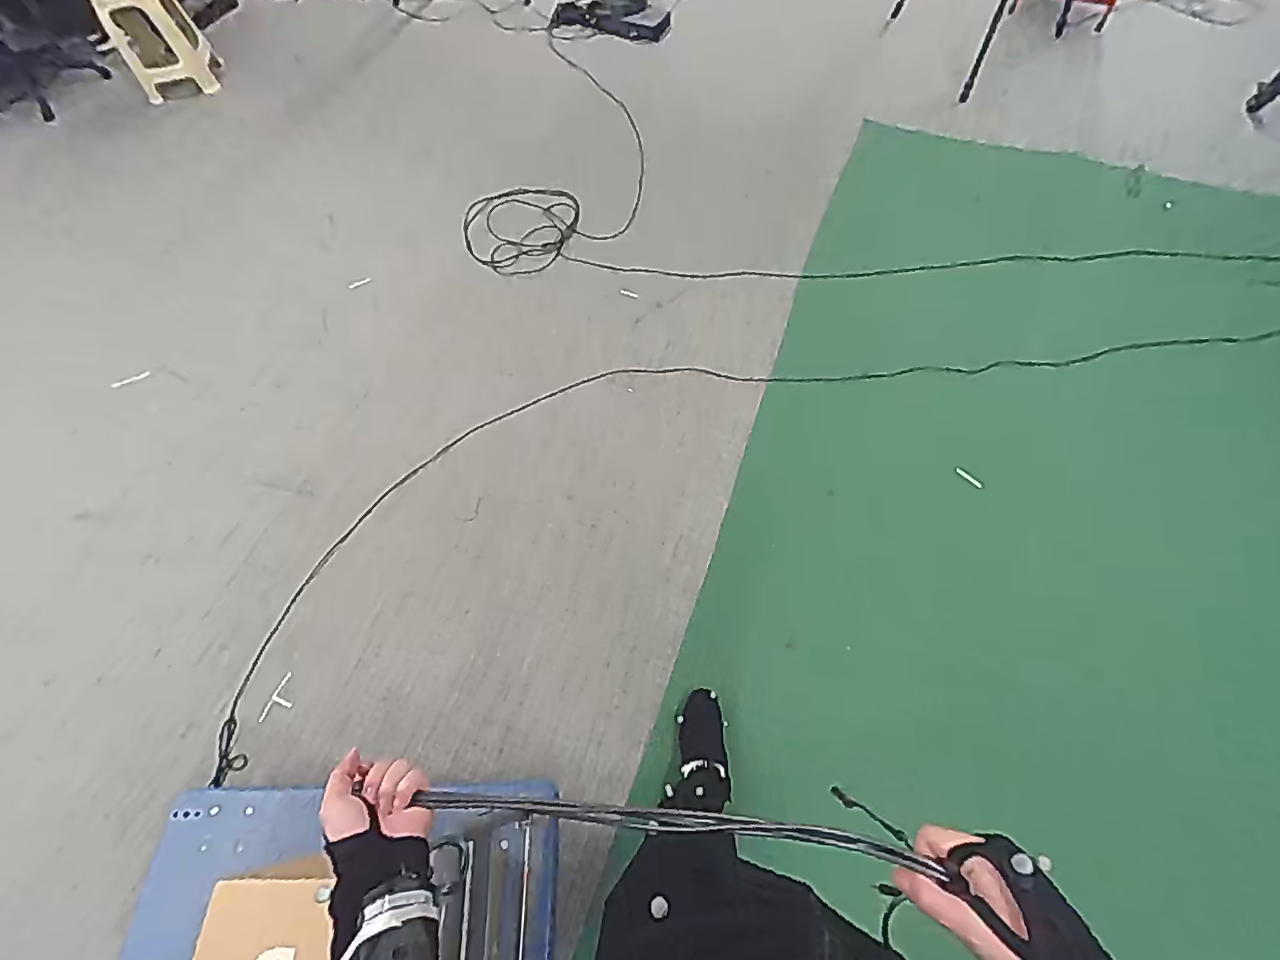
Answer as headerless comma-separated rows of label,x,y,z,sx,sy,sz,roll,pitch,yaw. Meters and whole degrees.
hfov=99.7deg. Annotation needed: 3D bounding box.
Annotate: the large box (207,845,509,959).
large box,-0.473,0.856,0.954,0.408,0.320,0.320,-3,62,3
